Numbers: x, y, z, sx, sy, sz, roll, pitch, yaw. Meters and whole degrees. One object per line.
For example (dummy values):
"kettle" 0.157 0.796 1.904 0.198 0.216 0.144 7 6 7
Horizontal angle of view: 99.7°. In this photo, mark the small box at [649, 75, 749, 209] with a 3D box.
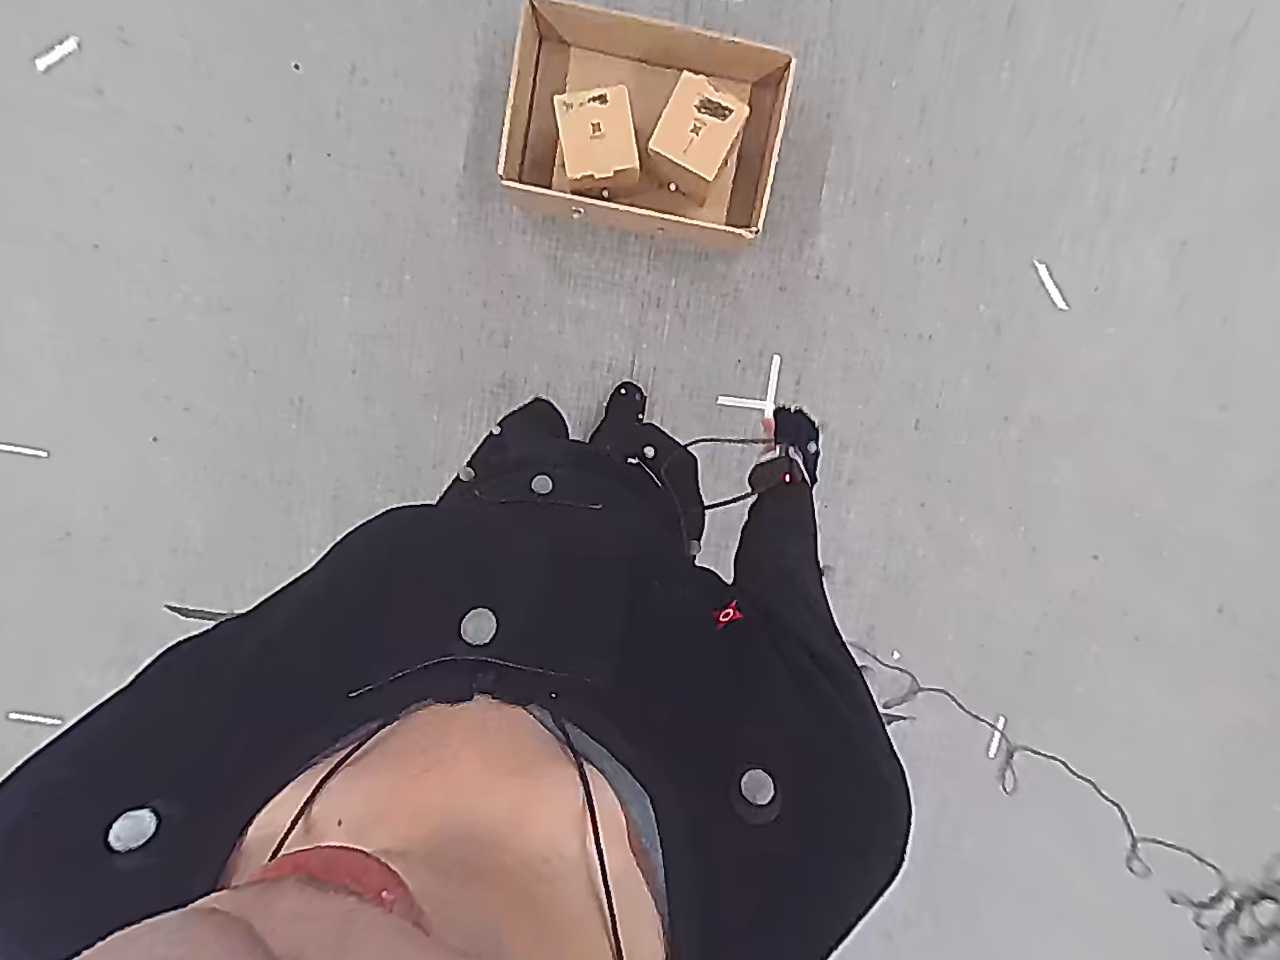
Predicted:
"small box" 0.129 -0.778 1.264 0.168 0.176 0.179 28 98 -3
